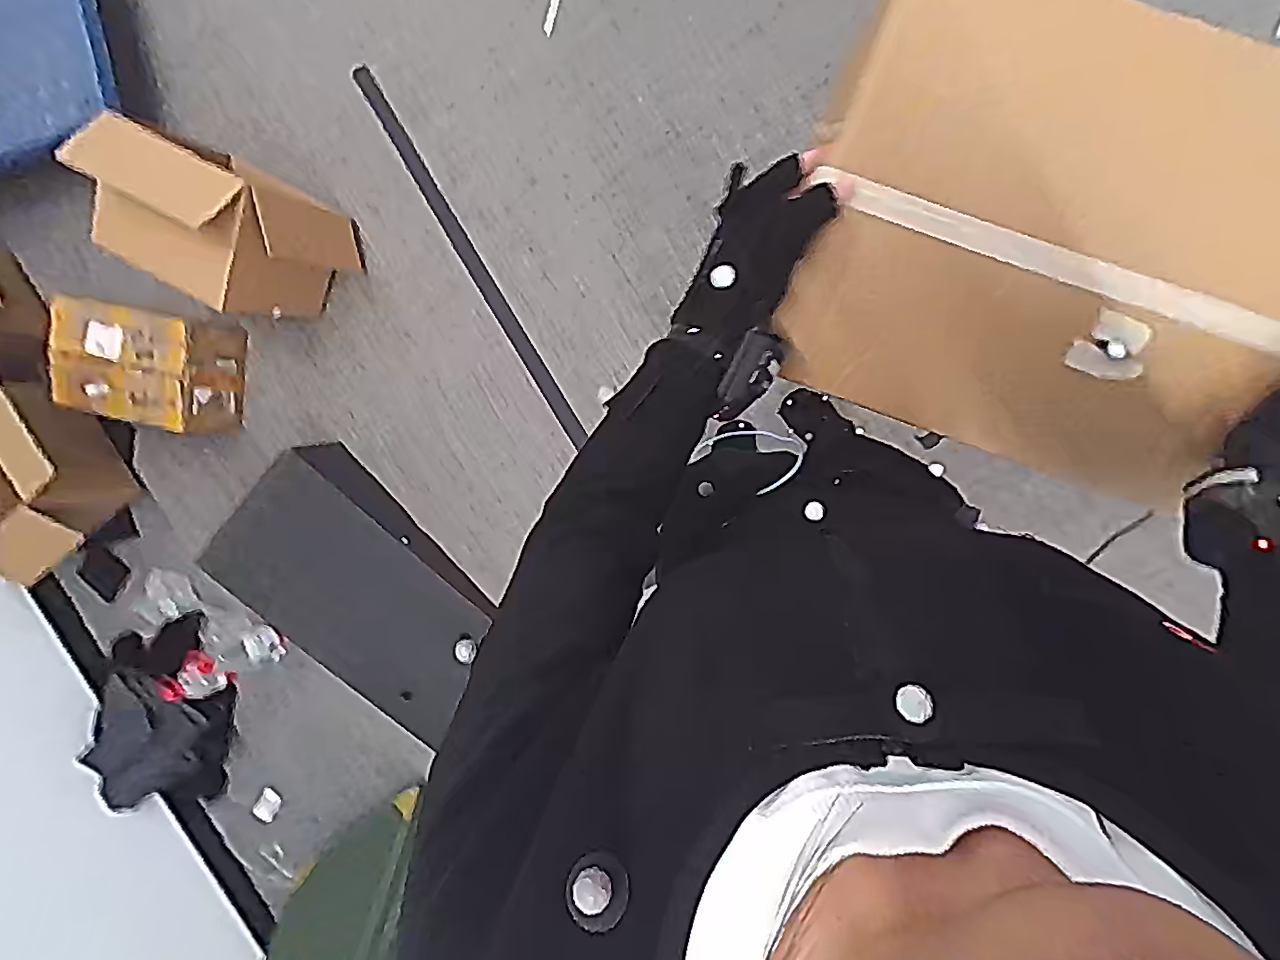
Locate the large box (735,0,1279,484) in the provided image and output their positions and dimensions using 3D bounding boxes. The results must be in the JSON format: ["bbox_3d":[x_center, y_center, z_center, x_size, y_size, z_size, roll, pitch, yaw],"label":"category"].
[{"bbox_3d":[0.340,-0.241,0.575,0.408,0.320,0.320,18,114,1],"label":"large box"}]
